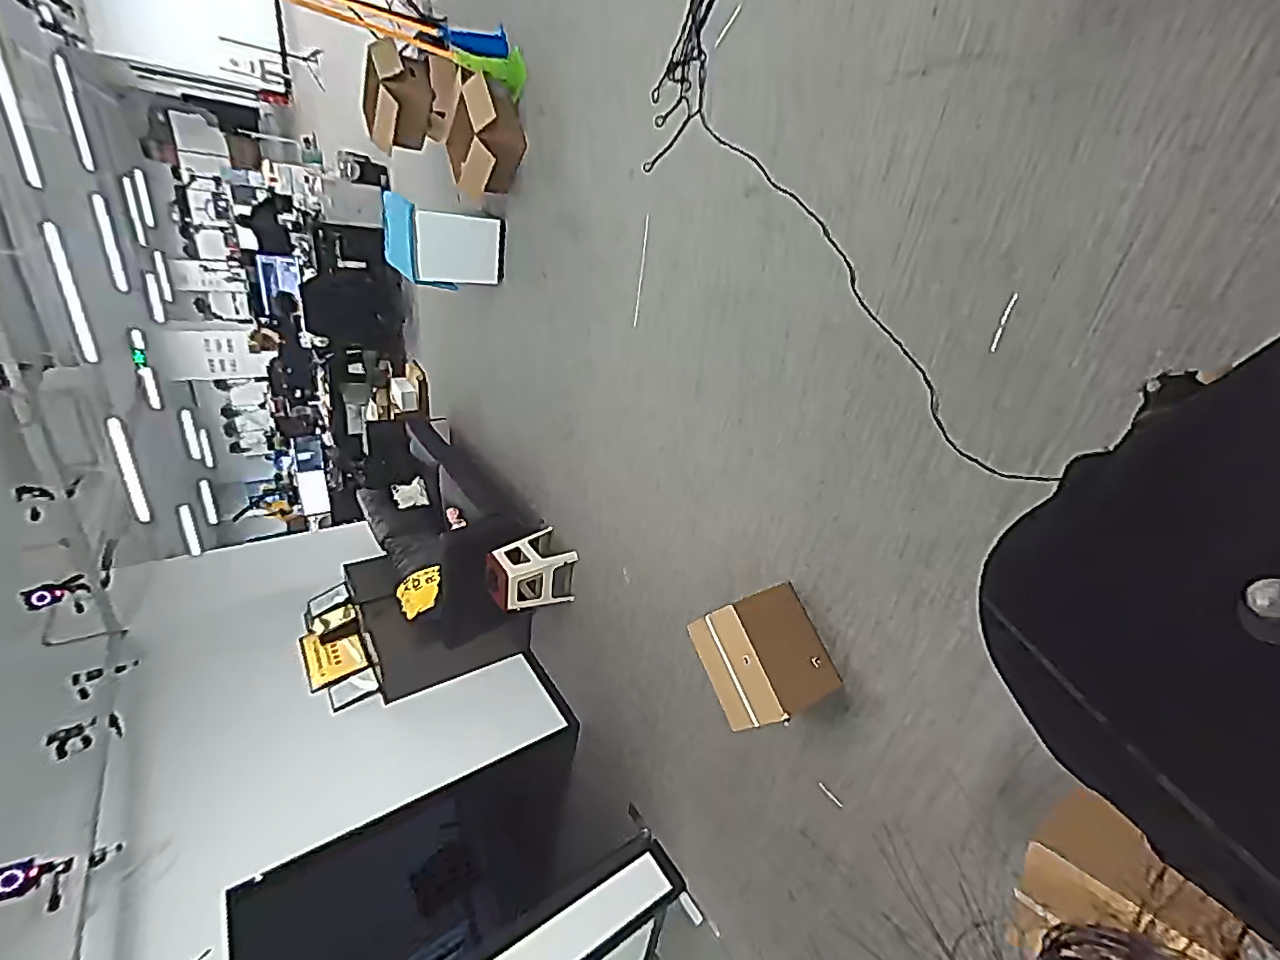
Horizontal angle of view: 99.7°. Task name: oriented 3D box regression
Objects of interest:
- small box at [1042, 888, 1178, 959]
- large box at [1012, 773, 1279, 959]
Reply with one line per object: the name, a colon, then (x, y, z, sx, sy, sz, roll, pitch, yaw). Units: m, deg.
small box: (0.893, 0.945, 1.035, 0.168, 0.176, 0.179, 28, 121, 49)
large box: (1.107, 0.940, 1.166, 0.408, 0.320, 0.320, 19, 116, 50)
